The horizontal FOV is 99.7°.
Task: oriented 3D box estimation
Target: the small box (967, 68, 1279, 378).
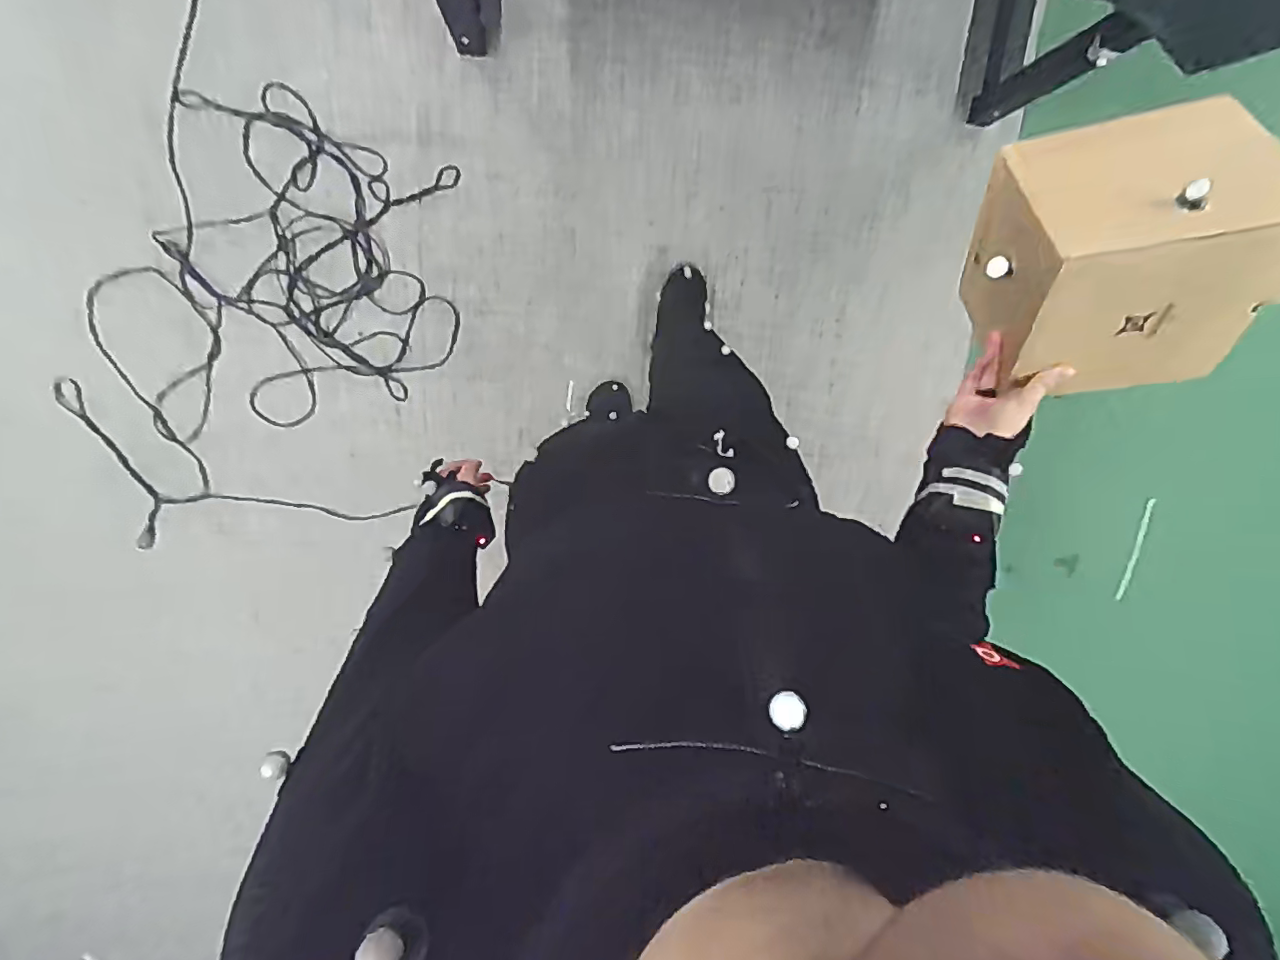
[{"bbox_3d":[0.418,-0.217,0.476,0.179,0.176,0.168,-6,148,14],"label":"small box"}]
